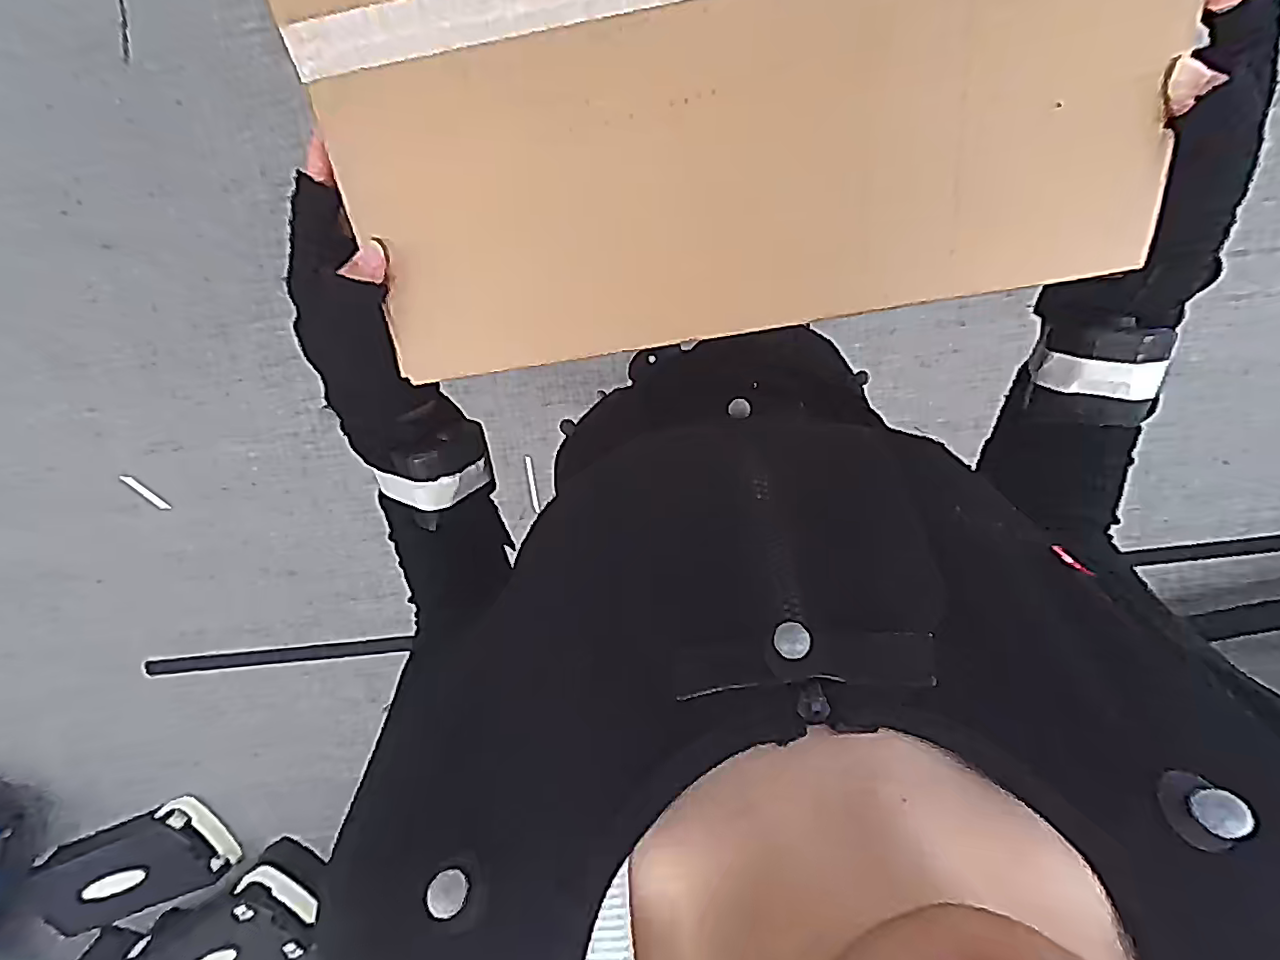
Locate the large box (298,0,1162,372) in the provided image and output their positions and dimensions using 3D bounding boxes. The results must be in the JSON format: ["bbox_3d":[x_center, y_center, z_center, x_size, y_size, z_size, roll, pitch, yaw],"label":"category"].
[{"bbox_3d":[0.038,-0.292,0.385,0.408,0.320,0.320,-9,115,4],"label":"large box"}]
